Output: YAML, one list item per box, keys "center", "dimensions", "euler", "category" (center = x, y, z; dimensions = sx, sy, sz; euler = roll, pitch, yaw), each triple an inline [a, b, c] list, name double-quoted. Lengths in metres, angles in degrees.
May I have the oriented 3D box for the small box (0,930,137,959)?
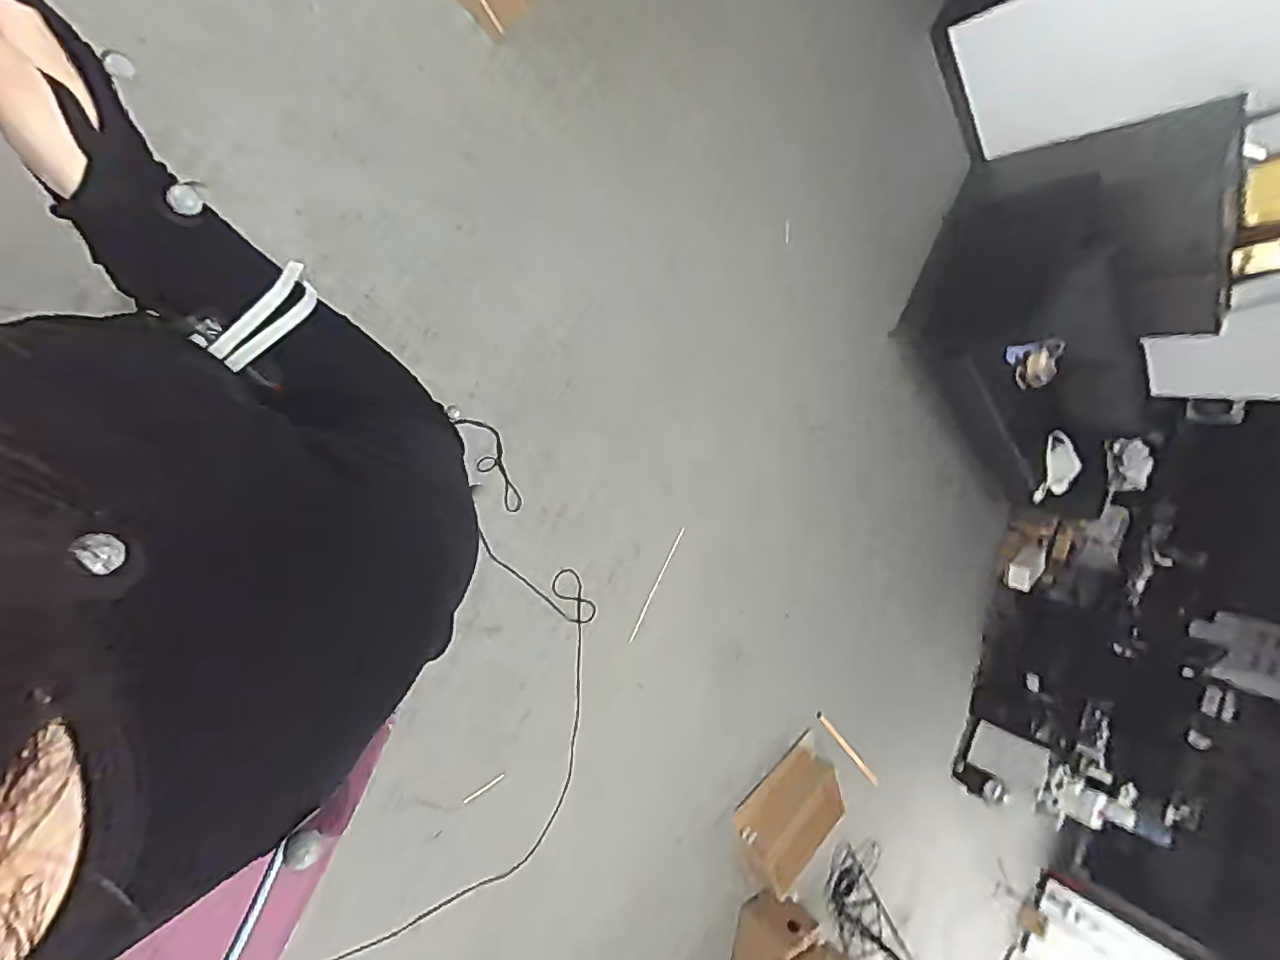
- center: [-0.636, 0.598, 0.527]
  dimensions: [0.168, 0.176, 0.179]
  euler: [33, 79, -39]
  category: "small box"
